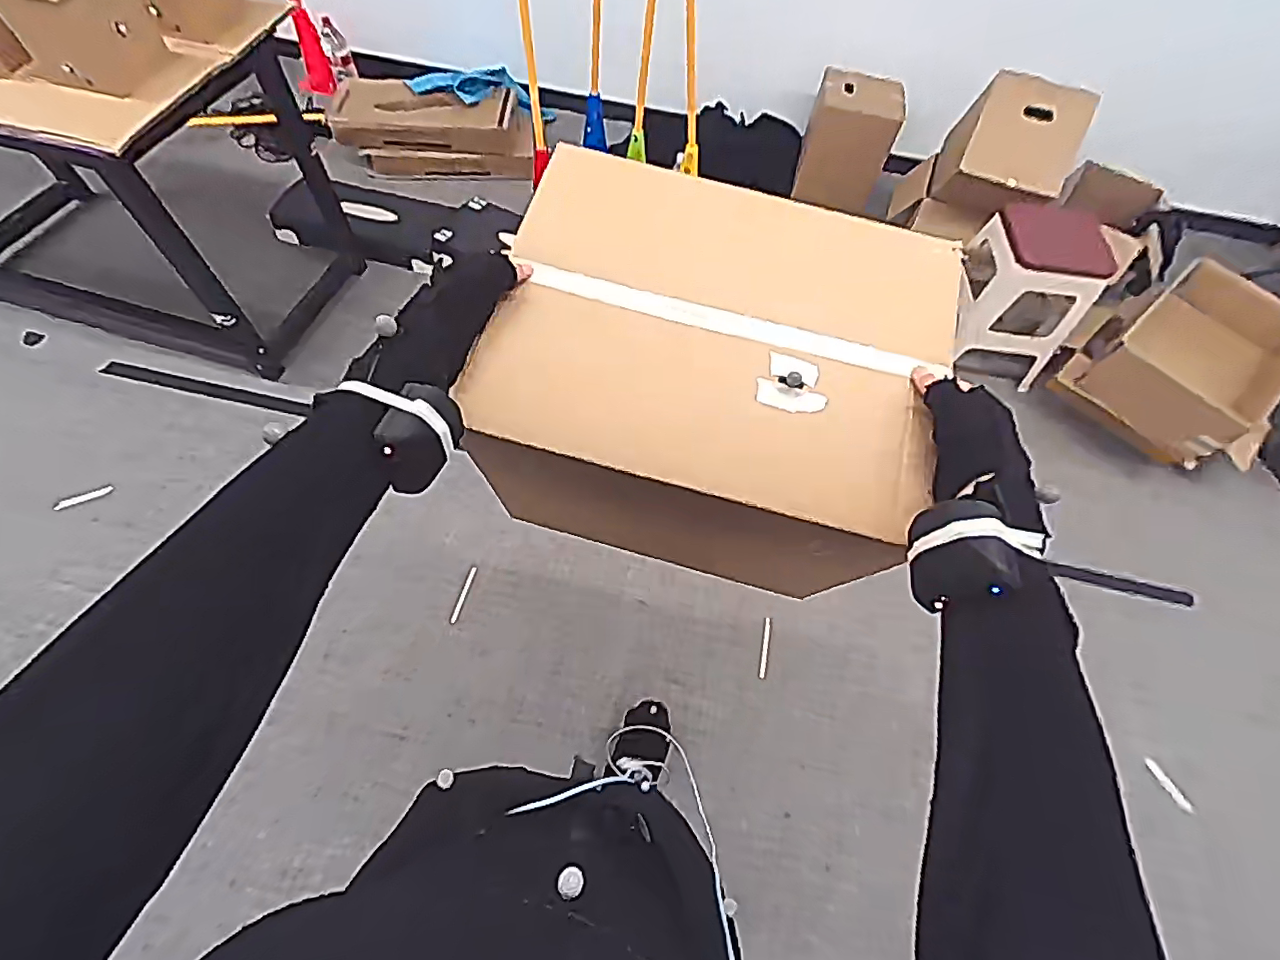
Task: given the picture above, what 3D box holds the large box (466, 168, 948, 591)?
[{"bbox_3d":[0.069,-0.084,0.636,0.408,0.320,0.320,15,72,2],"label":"large box"}]
